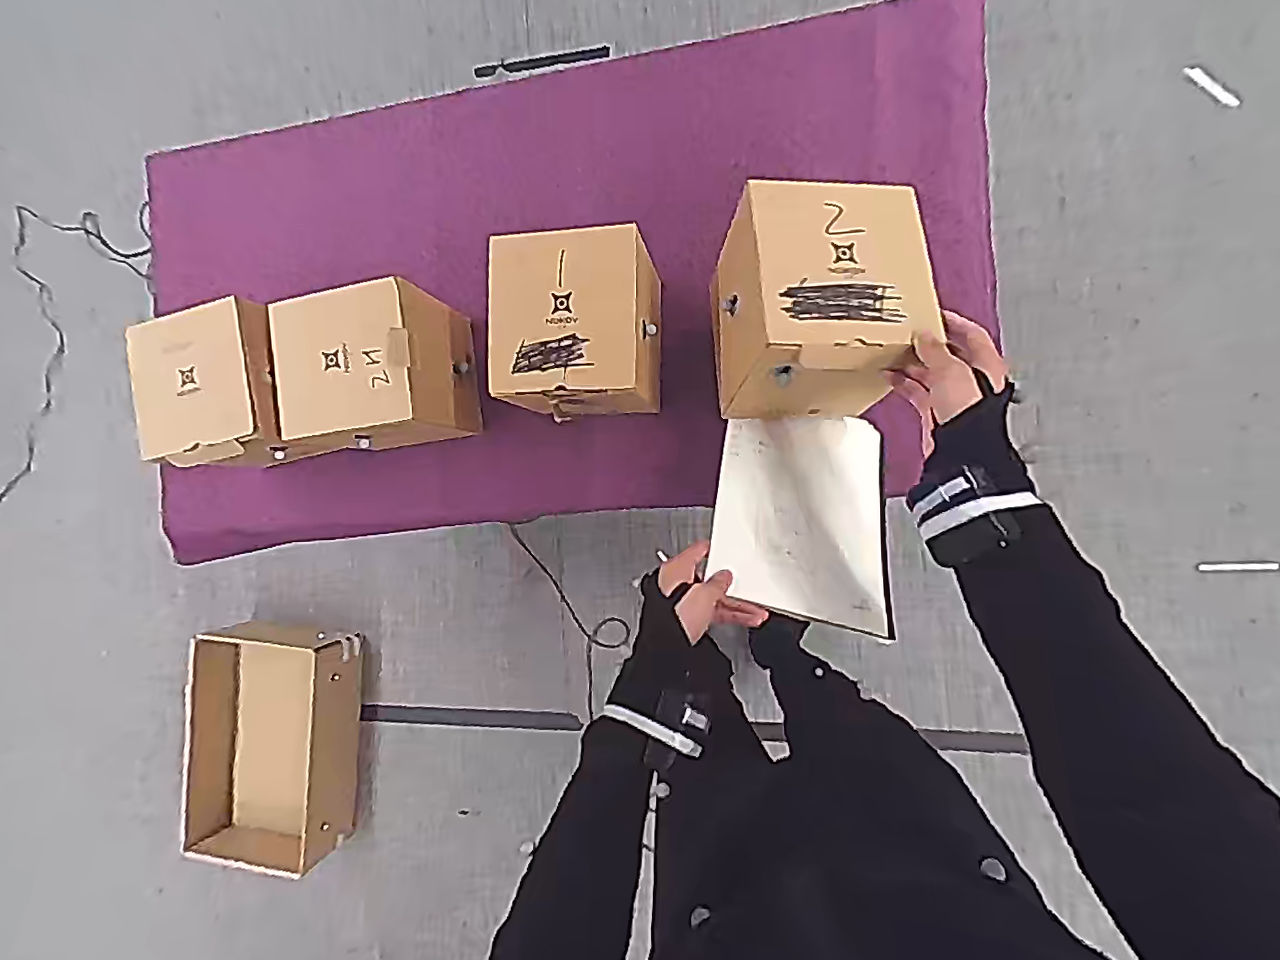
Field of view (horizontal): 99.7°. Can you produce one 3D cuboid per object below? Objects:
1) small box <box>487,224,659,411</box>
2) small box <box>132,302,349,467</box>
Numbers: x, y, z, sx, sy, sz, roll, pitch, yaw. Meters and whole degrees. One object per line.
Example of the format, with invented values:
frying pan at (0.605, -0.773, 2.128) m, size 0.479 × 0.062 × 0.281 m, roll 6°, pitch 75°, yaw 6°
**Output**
small box at (-0.070, -0.178, 0.651) m, size 0.168 × 0.176 × 0.179 m, roll 0°, pitch 89°, yaw 11°
small box at (-0.531, -0.117, 0.741) m, size 0.168 × 0.176 × 0.179 m, roll -11°, pitch 87°, yaw 10°
